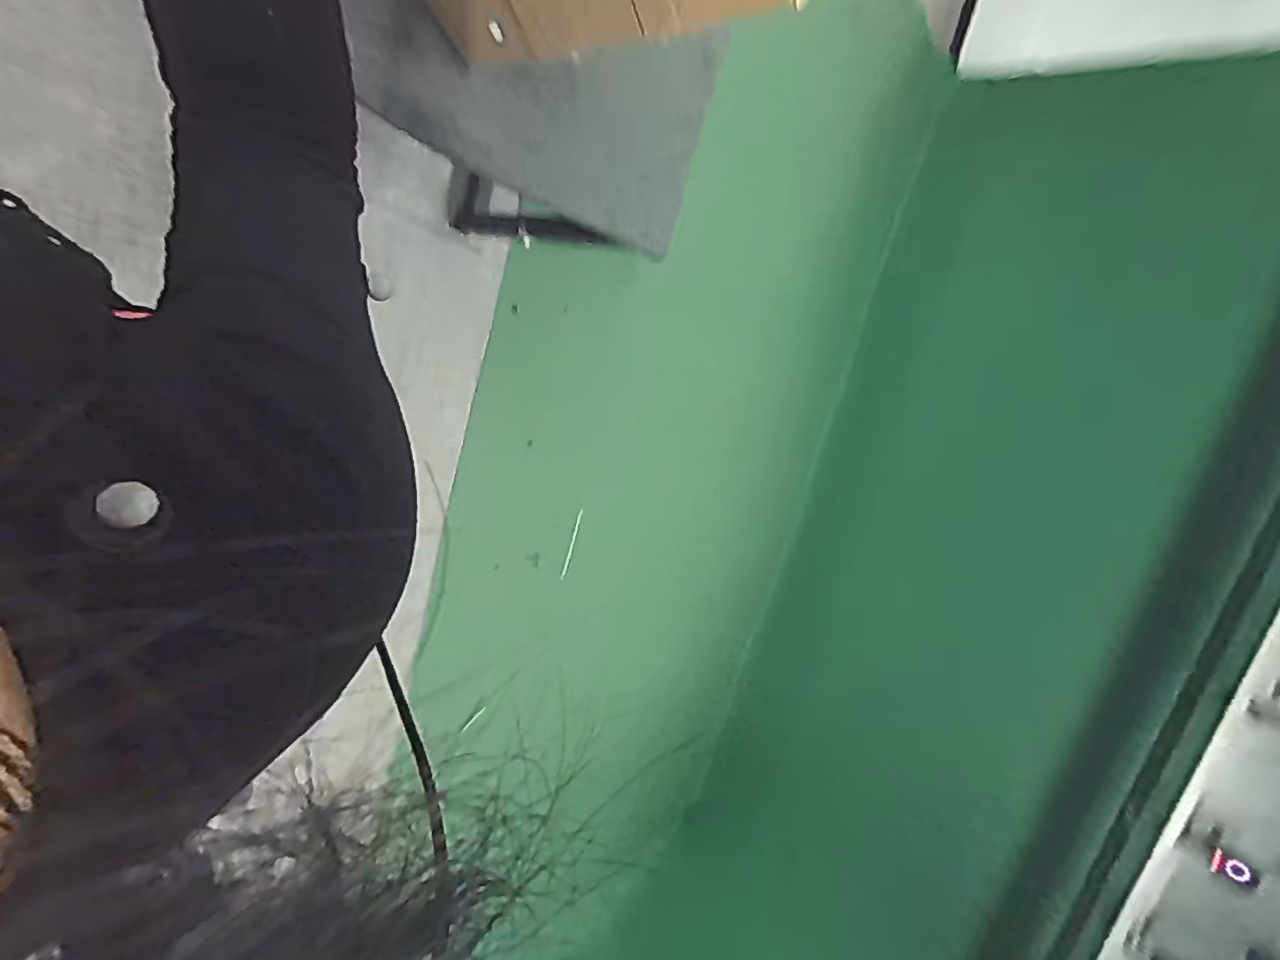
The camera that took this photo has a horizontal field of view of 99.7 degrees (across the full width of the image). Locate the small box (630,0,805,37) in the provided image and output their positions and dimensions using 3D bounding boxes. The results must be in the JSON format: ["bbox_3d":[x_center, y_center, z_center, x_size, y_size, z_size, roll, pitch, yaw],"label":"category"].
[{"bbox_3d":[0.075,-0.520,0.452,0.168,0.176,0.179,-57,145,-16],"label":"small box"}]

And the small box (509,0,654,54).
[{"bbox_3d":[-0.046,-0.570,0.548,0.168,0.176,0.179,-55,143,-18],"label":"small box"}]
